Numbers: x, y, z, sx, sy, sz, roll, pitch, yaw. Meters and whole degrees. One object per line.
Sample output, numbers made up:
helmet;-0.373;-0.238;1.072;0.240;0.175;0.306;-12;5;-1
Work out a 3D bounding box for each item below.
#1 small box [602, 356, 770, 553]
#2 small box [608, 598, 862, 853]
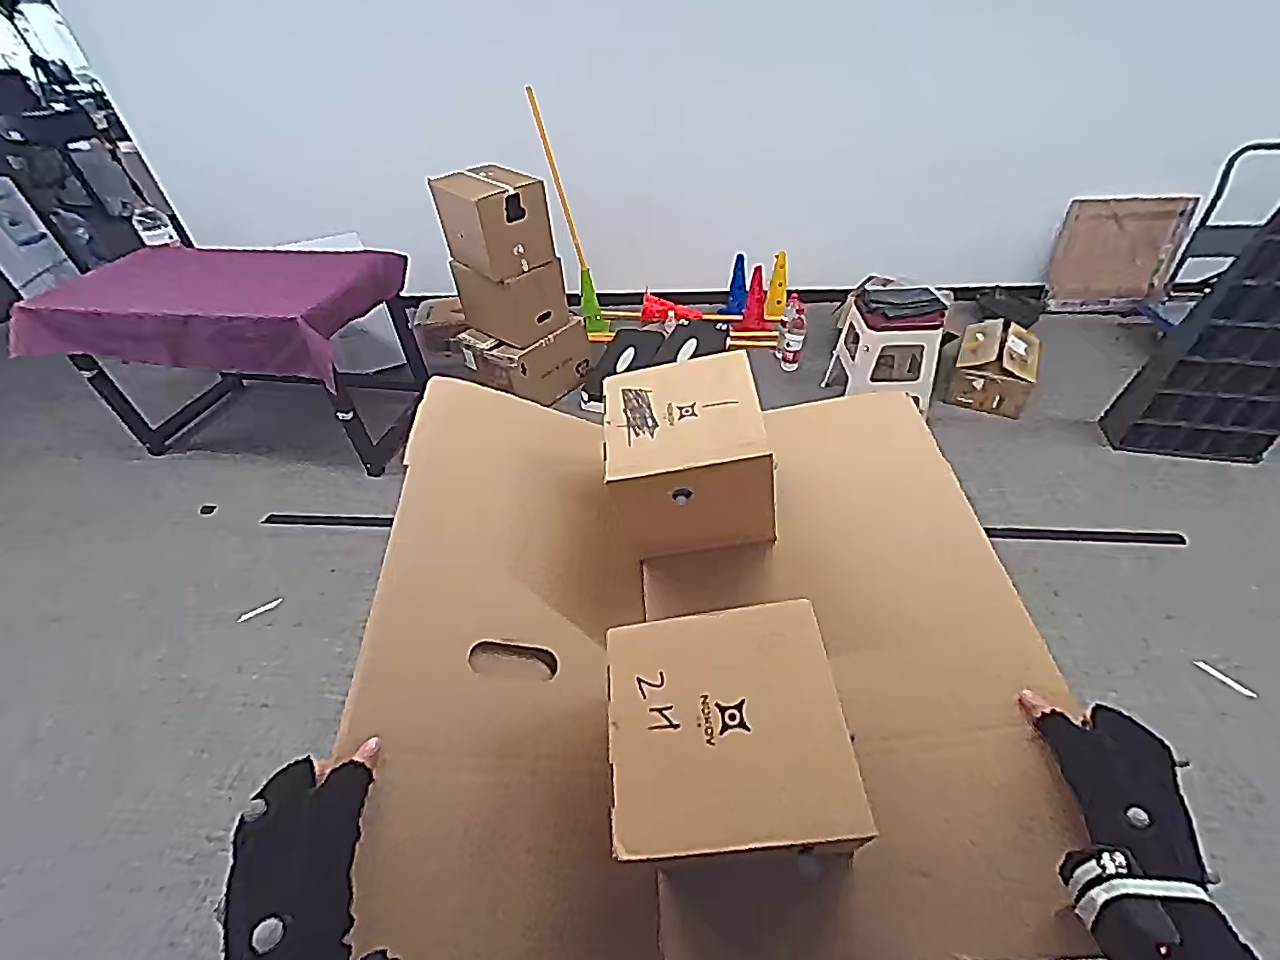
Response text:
small box;0.059;-0.024;0.676;0.179;0.176;0.168;-10;51;8
small box;0.078;0.225;0.481;0.179;0.176;0.168;-11;51;9
